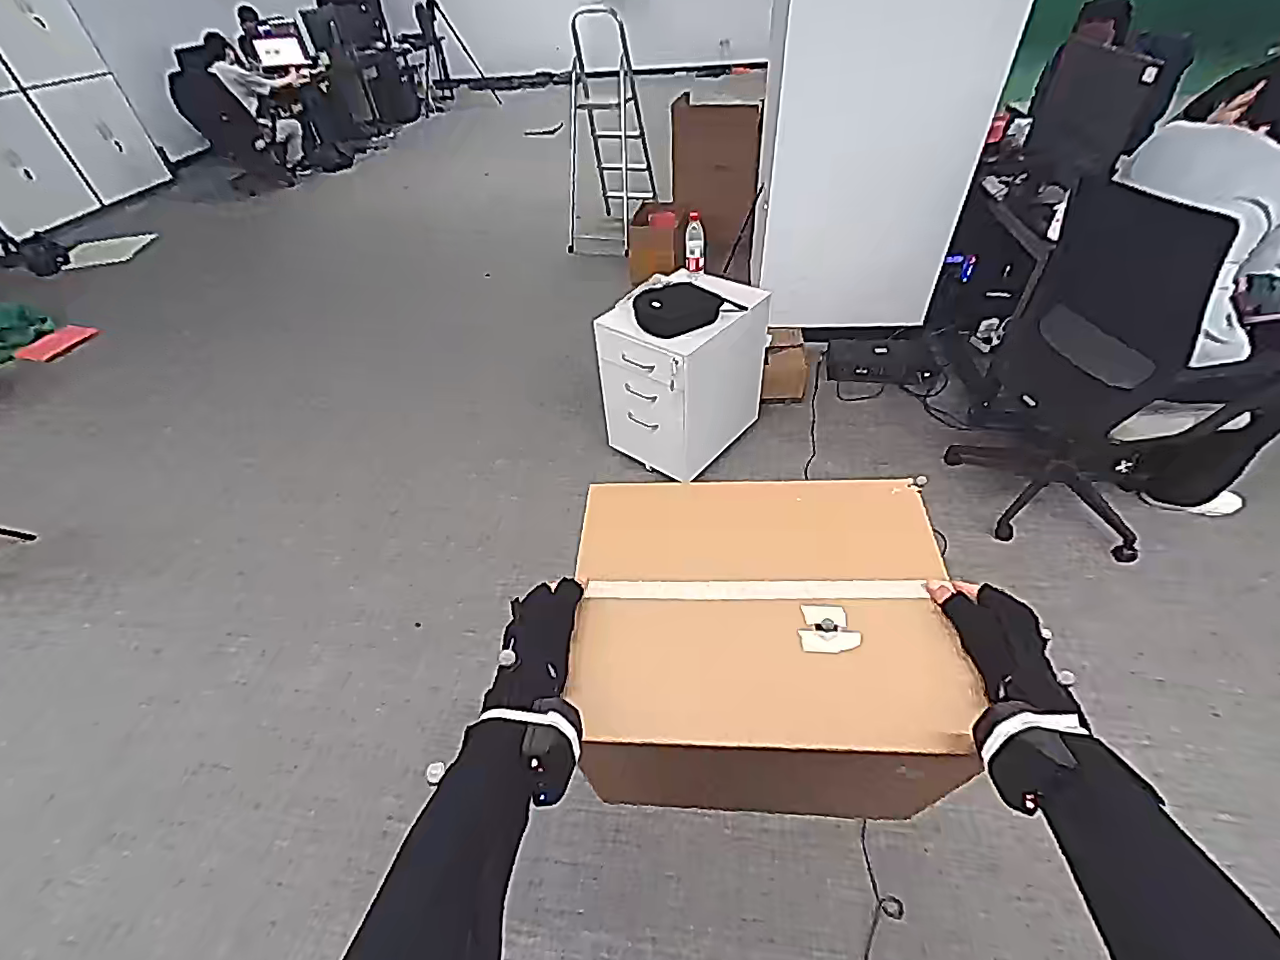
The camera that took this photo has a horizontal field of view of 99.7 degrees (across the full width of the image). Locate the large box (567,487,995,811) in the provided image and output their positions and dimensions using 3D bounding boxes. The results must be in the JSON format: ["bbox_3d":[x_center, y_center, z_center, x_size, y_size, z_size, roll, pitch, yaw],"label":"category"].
[{"bbox_3d":[0.143,0.227,0.711,0.408,0.320,0.320,-1,50,6],"label":"large box"}]
